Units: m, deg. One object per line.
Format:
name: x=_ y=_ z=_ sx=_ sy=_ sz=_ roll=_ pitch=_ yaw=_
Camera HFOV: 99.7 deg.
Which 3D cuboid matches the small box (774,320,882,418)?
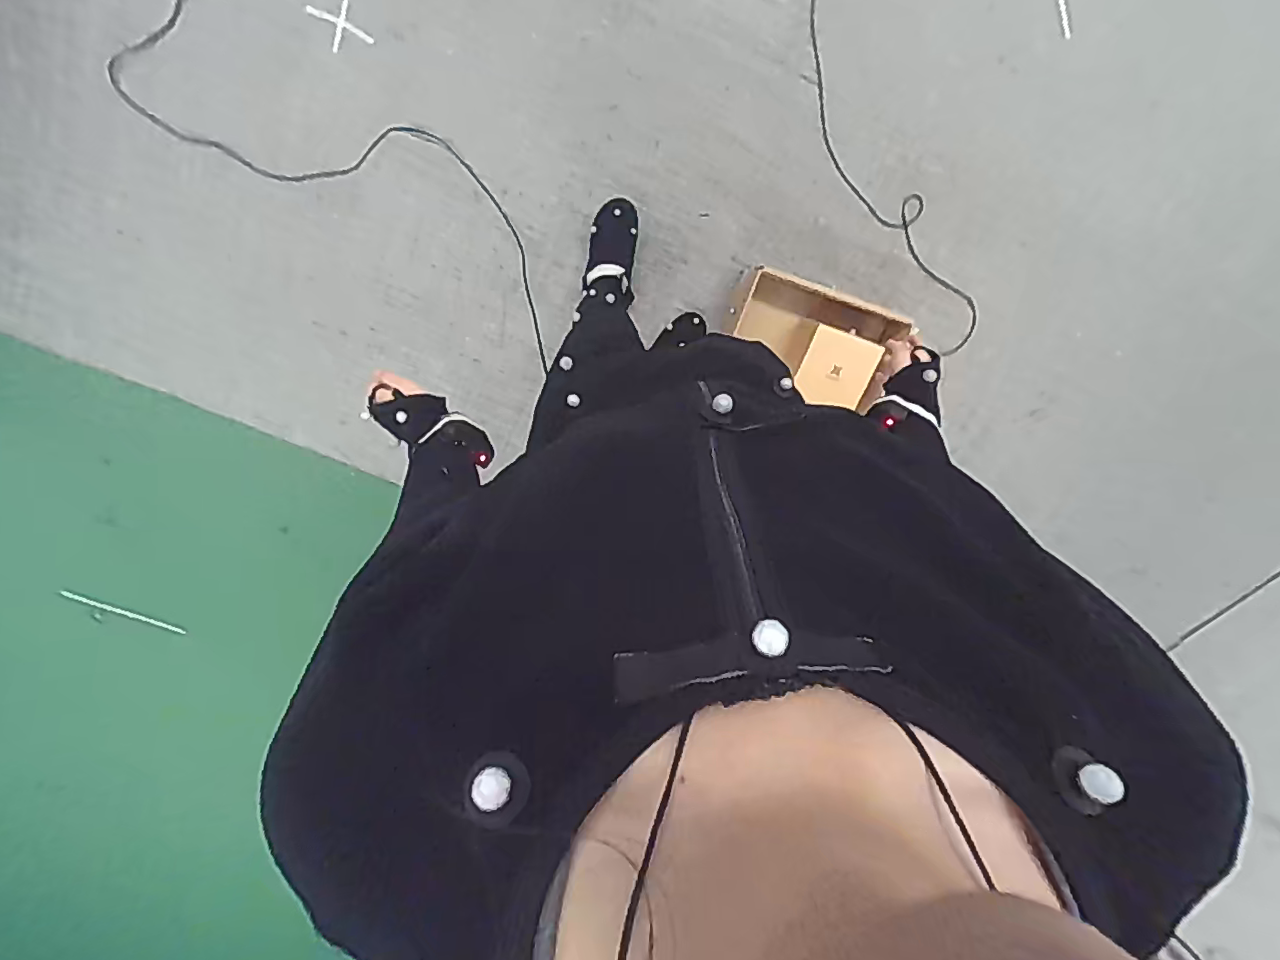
small box: x=0.444 y=-0.276 z=1.312 sx=0.168 sy=0.176 sz=0.179 roll=18 pitch=112 yaw=-6
